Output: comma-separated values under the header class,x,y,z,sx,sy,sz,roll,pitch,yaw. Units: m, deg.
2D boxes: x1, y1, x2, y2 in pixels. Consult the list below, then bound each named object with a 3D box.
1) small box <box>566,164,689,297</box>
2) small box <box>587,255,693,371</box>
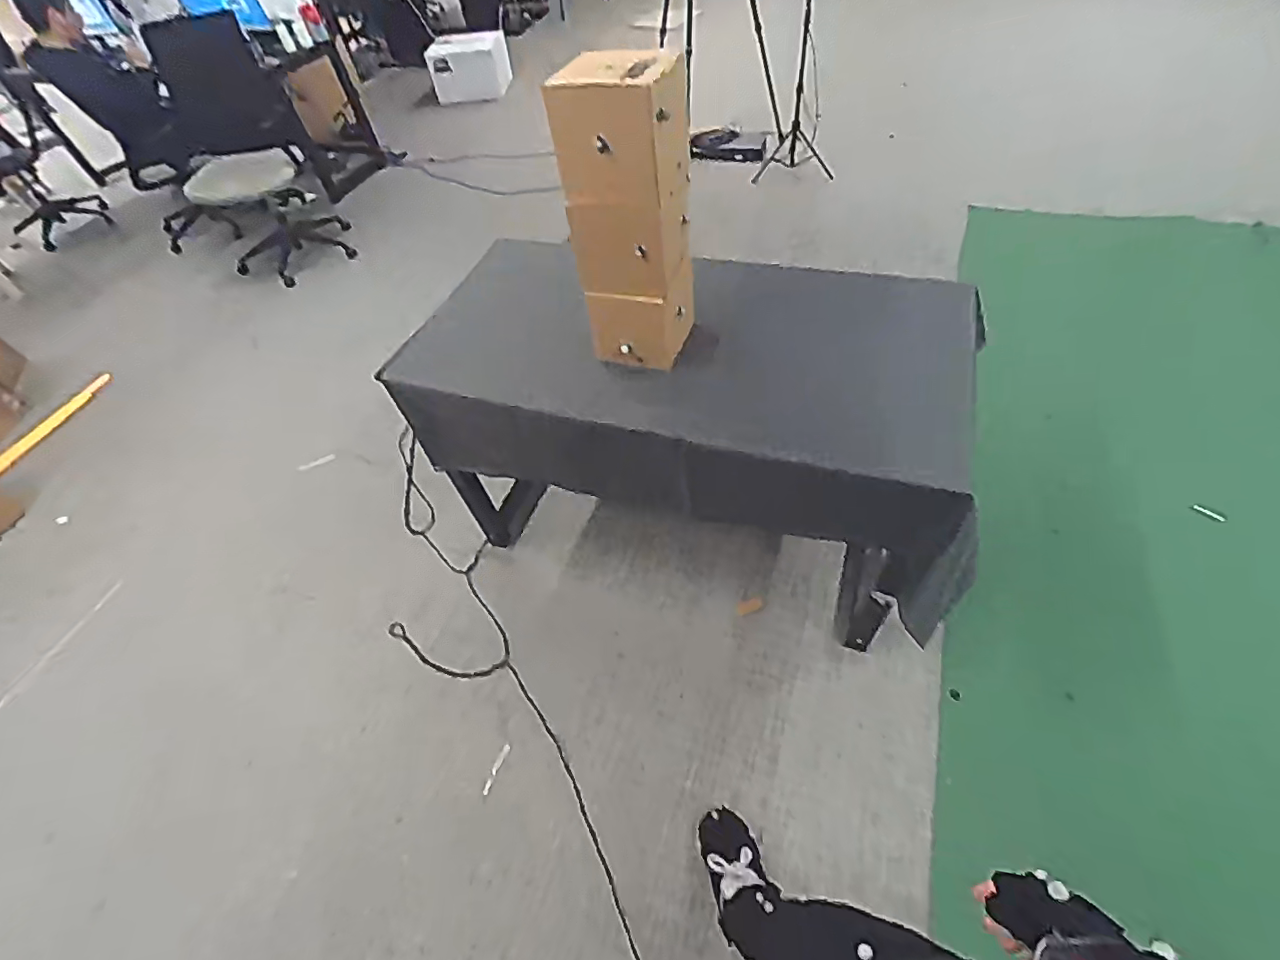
class,x,y,z,sx,sy,sz,roll,pitch,yaw
small box,-0.012,-0.461,1.004,0.179,0.176,0.168,11,53,17
small box,0.008,-0.356,1.127,0.168,0.176,0.179,13,55,18
